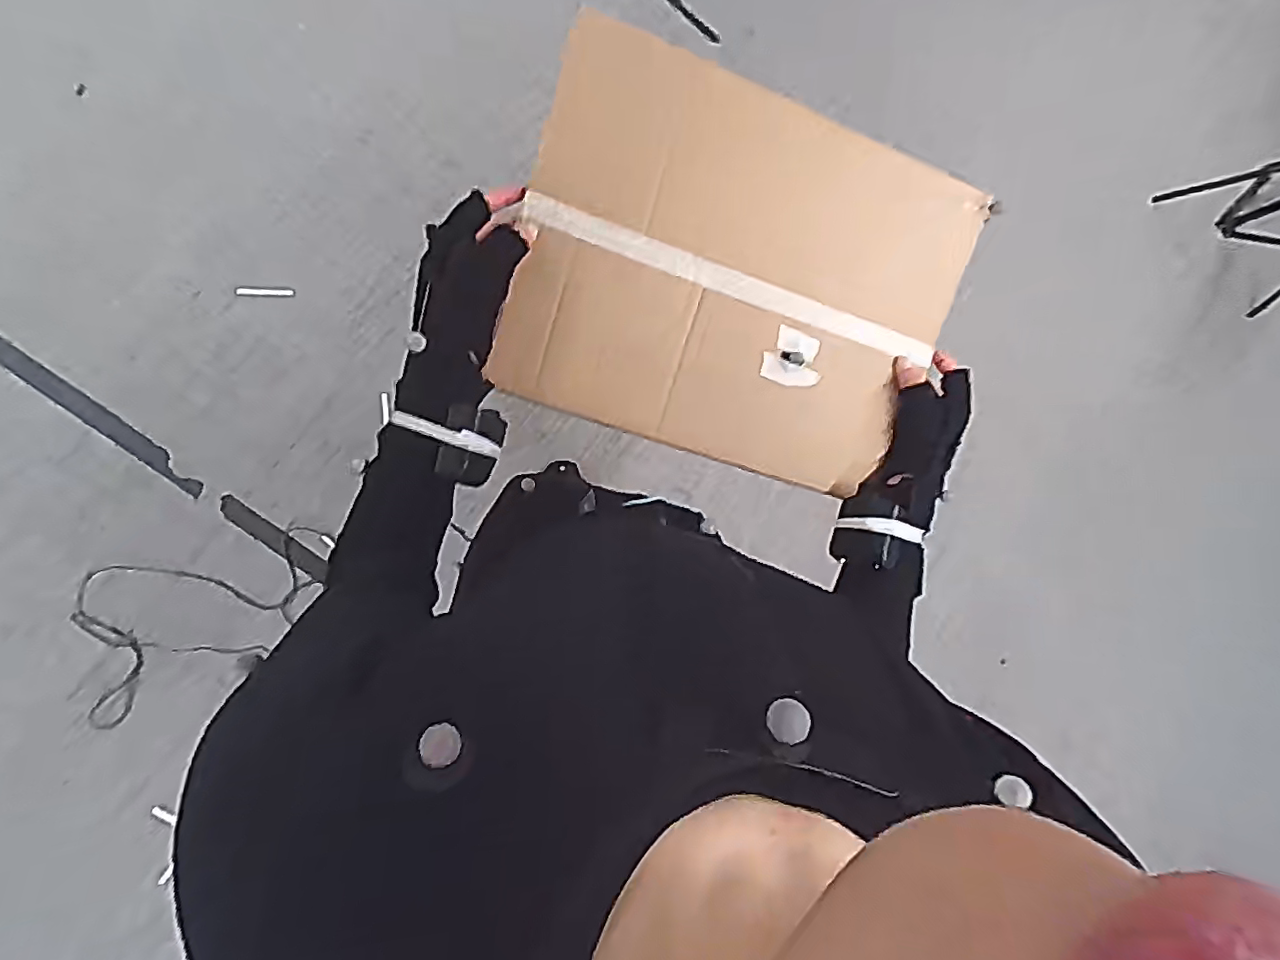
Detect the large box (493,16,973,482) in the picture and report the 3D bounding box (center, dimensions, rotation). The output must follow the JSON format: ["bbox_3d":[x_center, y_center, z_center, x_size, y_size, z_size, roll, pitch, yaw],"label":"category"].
[{"bbox_3d":[0.071,-0.223,0.652,0.408,0.320,0.320,17,101,-12],"label":"large box"}]
